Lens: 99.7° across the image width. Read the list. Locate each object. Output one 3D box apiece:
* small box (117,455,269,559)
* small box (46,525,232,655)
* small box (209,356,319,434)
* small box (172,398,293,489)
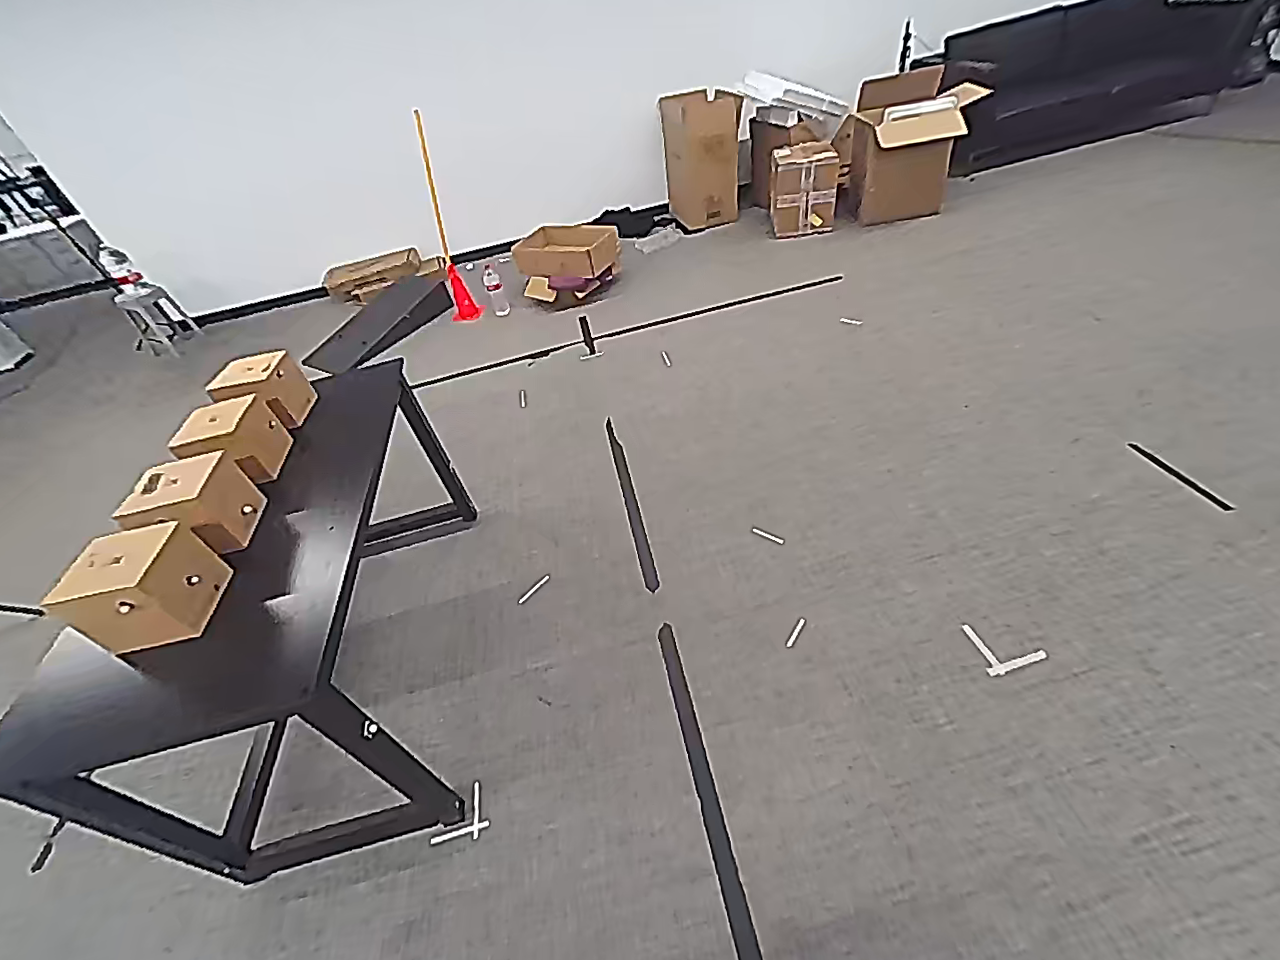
[{"bbox_3d":[-1.002,0.073,1.232,0.179,0.176,0.168,-15,41,-4],"label":"small box"},{"bbox_3d":[-0.963,0.218,1.065,0.179,0.176,0.168,-13,41,0],"label":"small box"},{"bbox_3d":[-1.099,-0.239,1.596,0.179,0.176,0.168,-12,43,2],"label":"small box"},{"bbox_3d":[-1.052,-0.083,1.418,0.168,0.176,0.179,-16,43,-1],"label":"small box"}]
